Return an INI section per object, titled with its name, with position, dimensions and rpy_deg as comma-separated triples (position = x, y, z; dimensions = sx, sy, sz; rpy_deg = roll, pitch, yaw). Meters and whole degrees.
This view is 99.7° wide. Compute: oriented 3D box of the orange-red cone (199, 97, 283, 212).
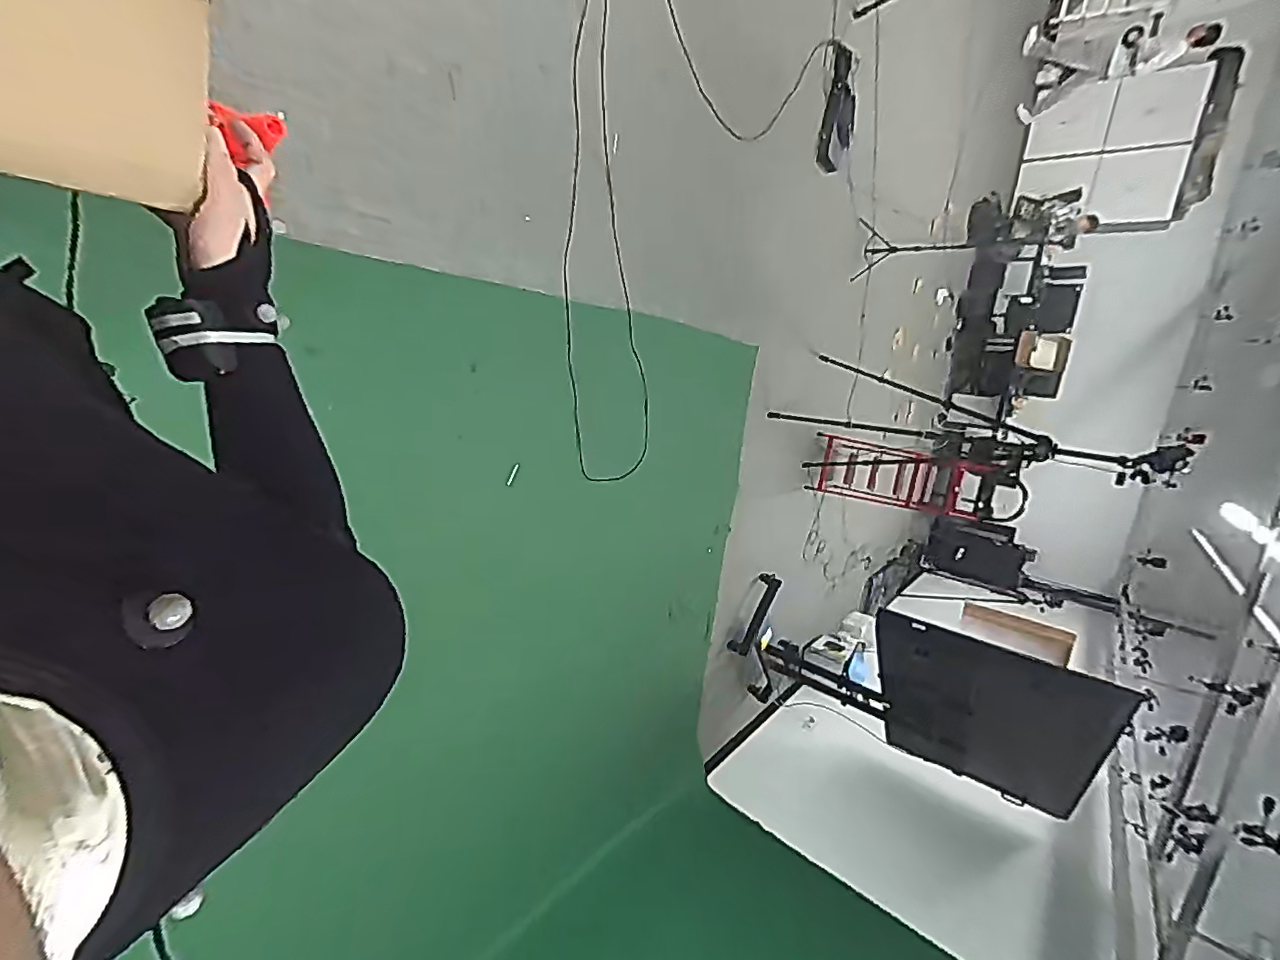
[orange-red cone]
position = -0.832, -0.705, 1.133
dimensions = 0.199, 0.360, 0.198
rpy_deg = 3, 101, -53
